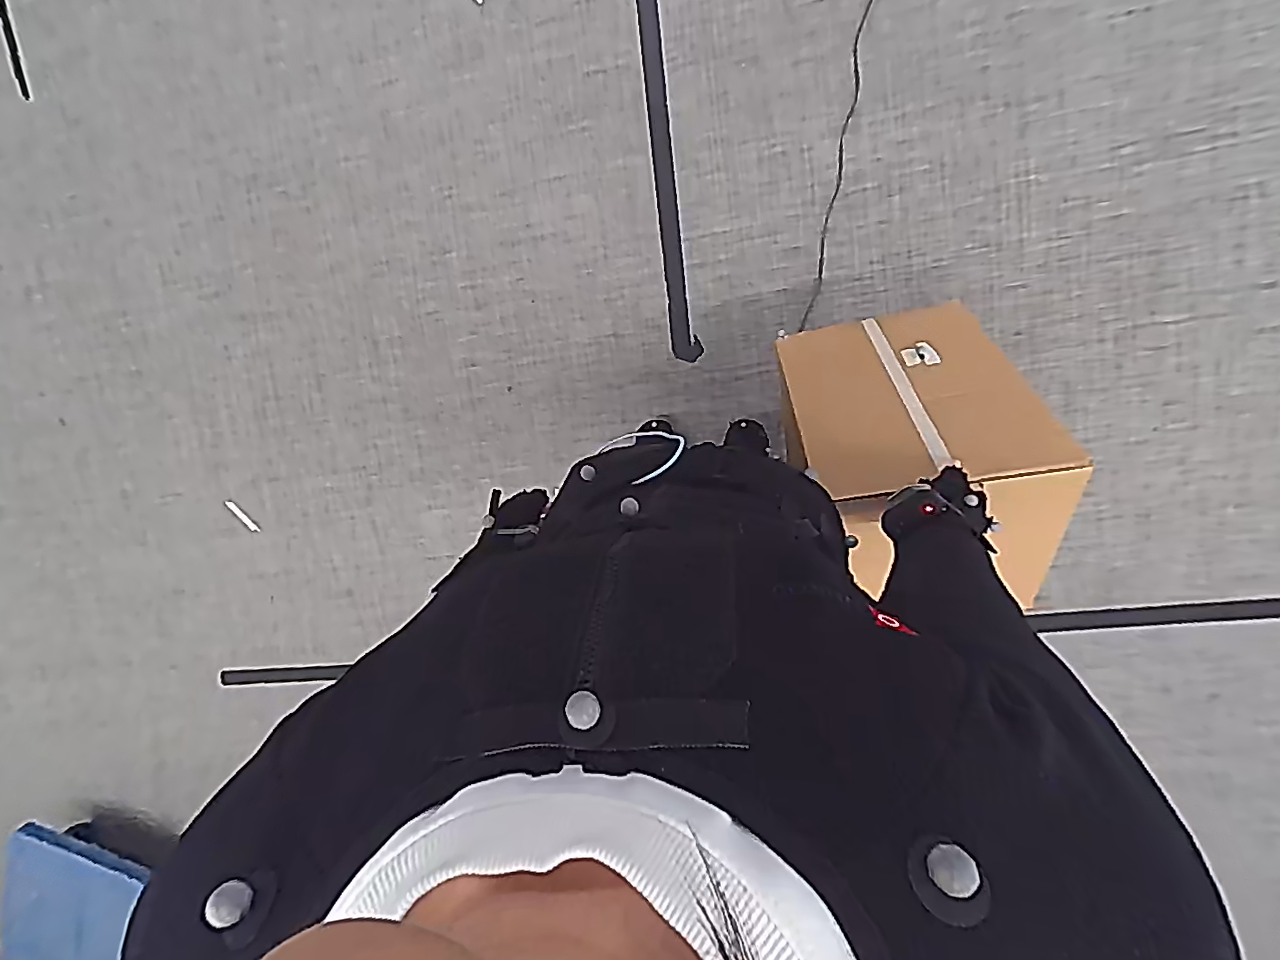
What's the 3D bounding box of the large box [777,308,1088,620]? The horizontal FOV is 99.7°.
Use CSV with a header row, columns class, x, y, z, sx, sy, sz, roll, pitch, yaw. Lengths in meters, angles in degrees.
class,x,y,z,sx,sy,sz,roll,pitch,yaw
large box,0.430,-0.030,0.911,0.320,0.408,0.320,-8,133,10
